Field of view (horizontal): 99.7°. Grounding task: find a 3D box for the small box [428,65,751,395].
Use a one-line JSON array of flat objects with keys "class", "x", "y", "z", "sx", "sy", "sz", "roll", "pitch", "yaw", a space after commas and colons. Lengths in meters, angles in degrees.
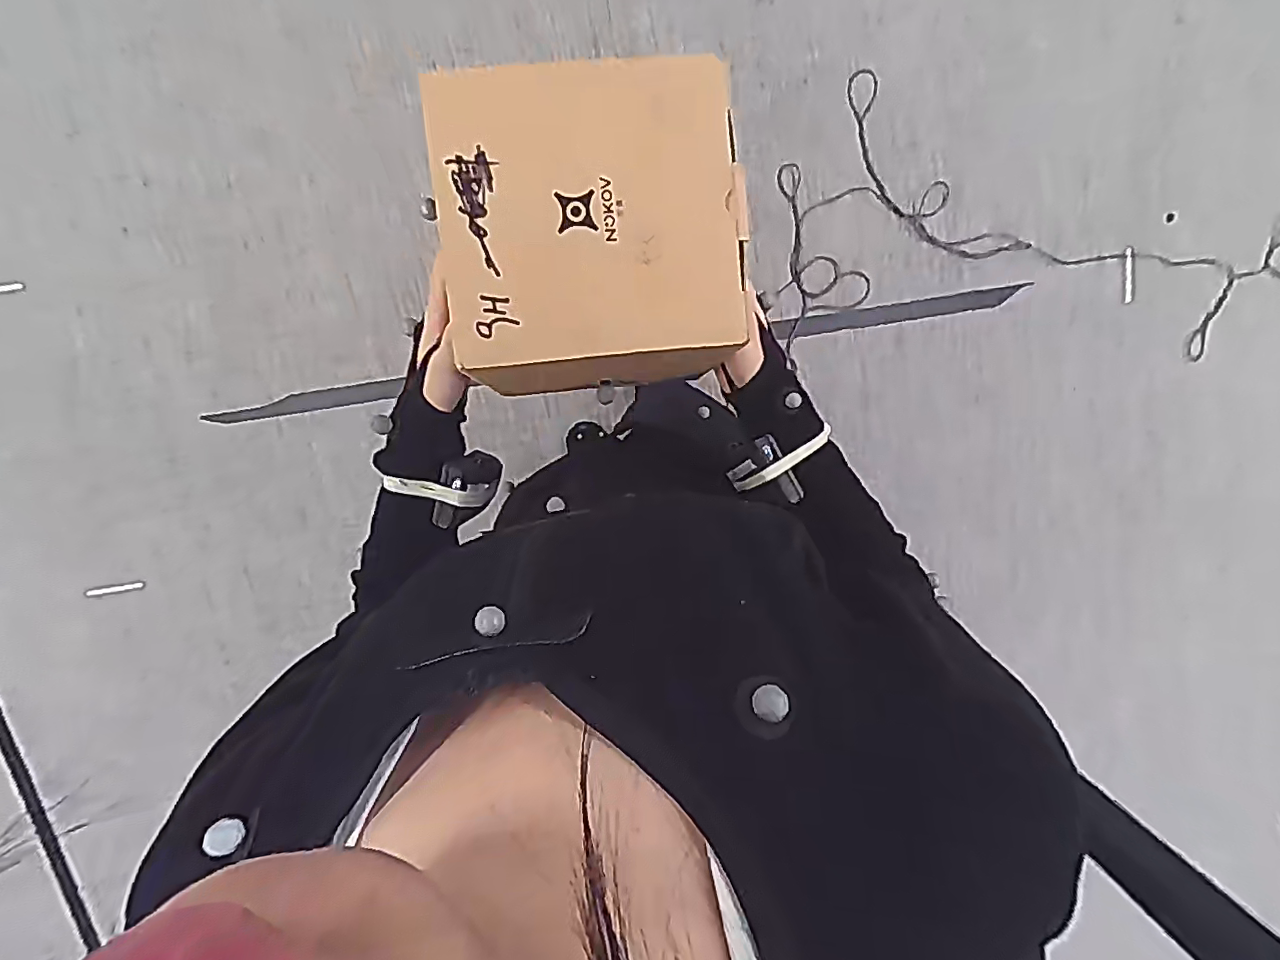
[{"class": "small box", "x": -0.034, "y": -0.158, "z": 0.393, "sx": 0.179, "sy": 0.176, "sz": 0.168, "roll": -6, "pitch": 93, "yaw": -5}]
